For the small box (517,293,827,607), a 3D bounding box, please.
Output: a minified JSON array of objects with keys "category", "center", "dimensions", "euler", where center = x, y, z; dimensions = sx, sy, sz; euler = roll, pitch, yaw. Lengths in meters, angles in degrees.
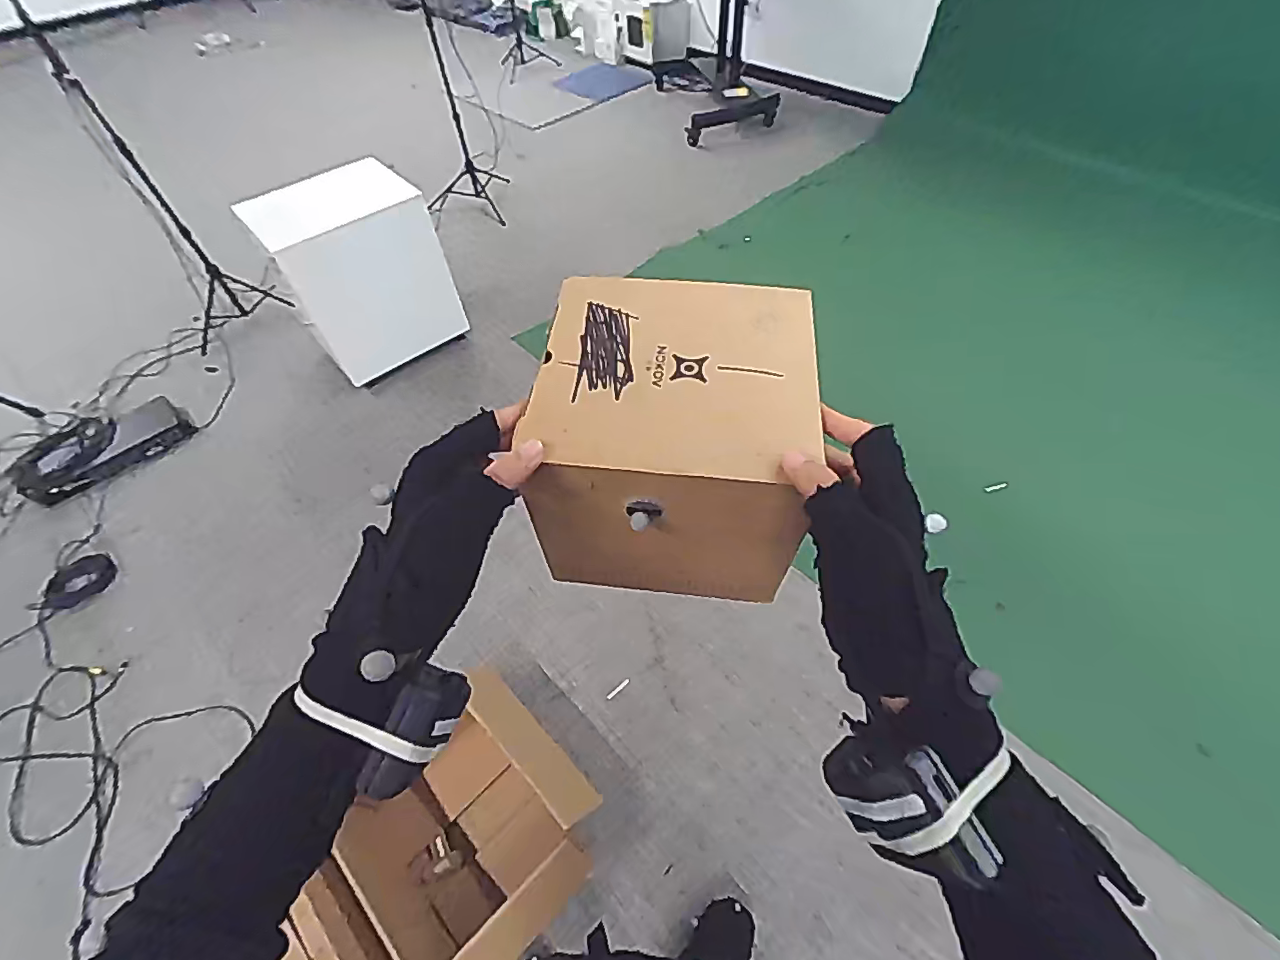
[{"category":"small box","center":[0.027,-0.016,0.407],"dimensions":[0.179,0.176,0.168],"euler":[5,56,5]}]
